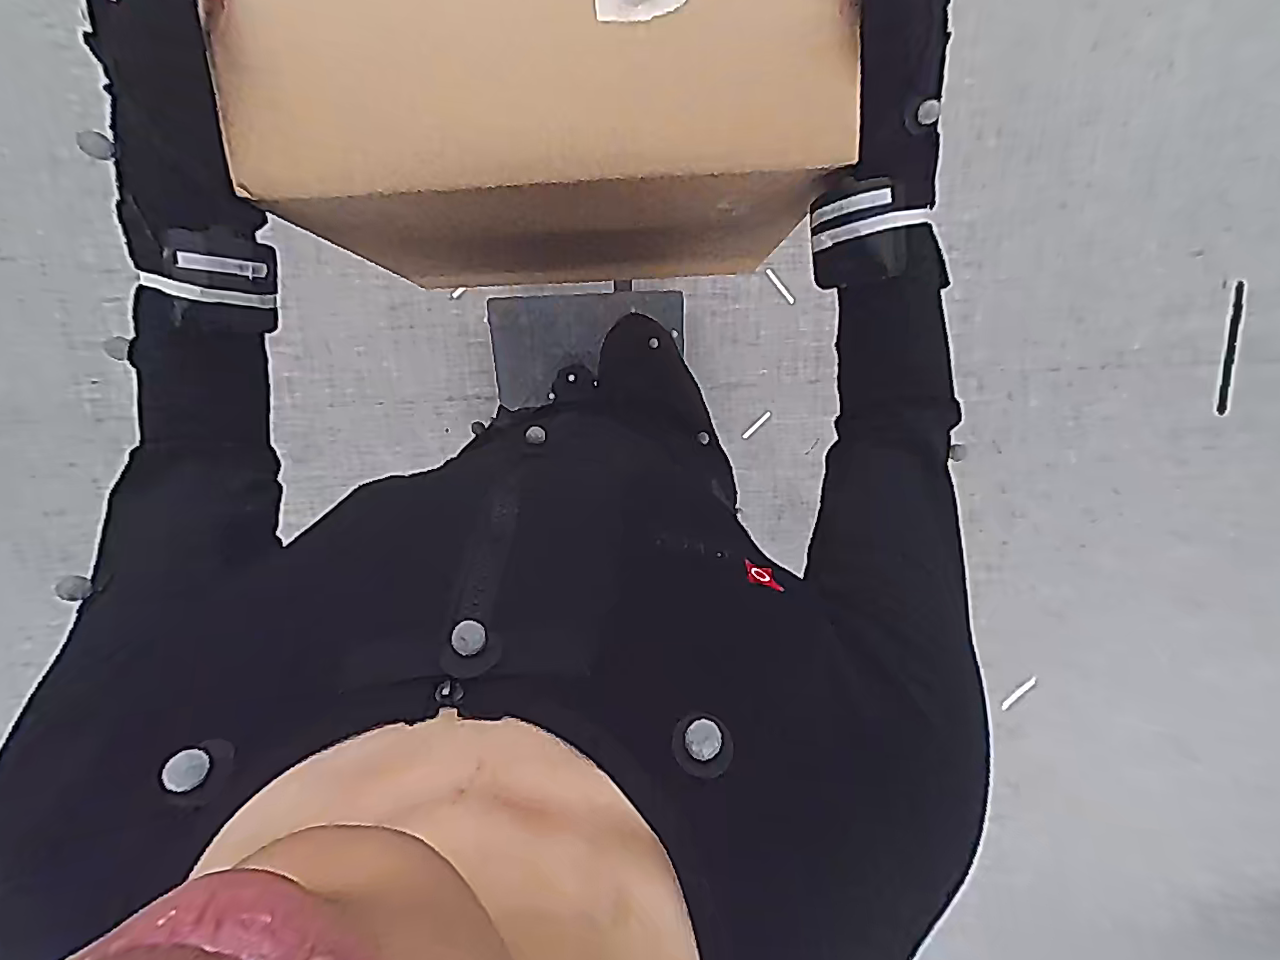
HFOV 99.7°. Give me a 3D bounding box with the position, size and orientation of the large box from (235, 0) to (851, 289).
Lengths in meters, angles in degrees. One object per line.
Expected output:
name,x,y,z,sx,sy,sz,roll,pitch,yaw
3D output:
large box,-0.068,-0.376,0.493,0.408,0.320,0.320,-3,99,0
